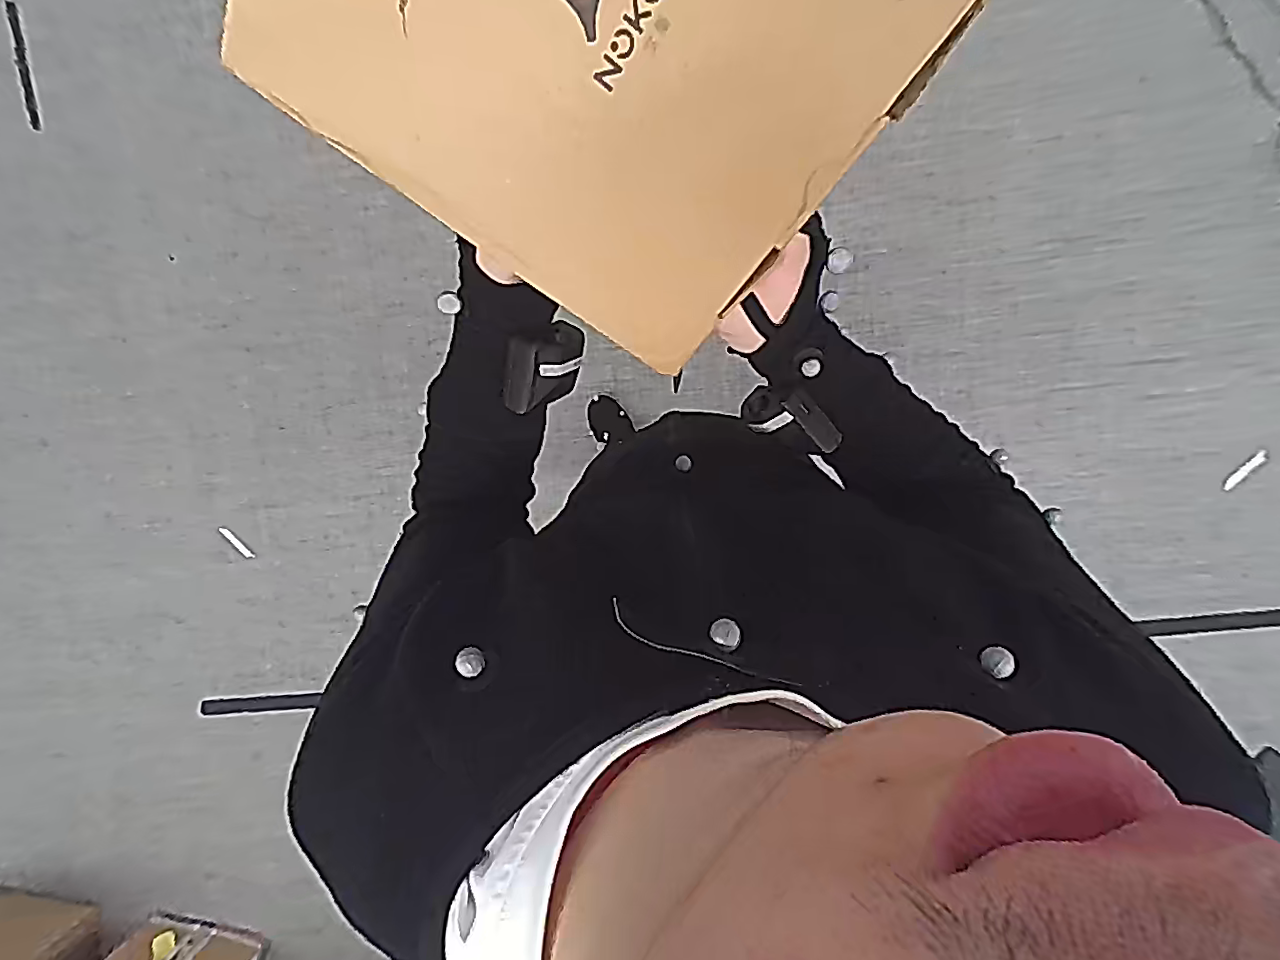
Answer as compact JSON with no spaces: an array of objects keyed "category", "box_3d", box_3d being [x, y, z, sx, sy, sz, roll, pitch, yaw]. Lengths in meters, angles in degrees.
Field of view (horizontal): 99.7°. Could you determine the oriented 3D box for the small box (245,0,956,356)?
[{"category":"small box","box_3d":[-0.004,-0.190,0.216,0.179,0.176,0.168,32,126,-14]}]
